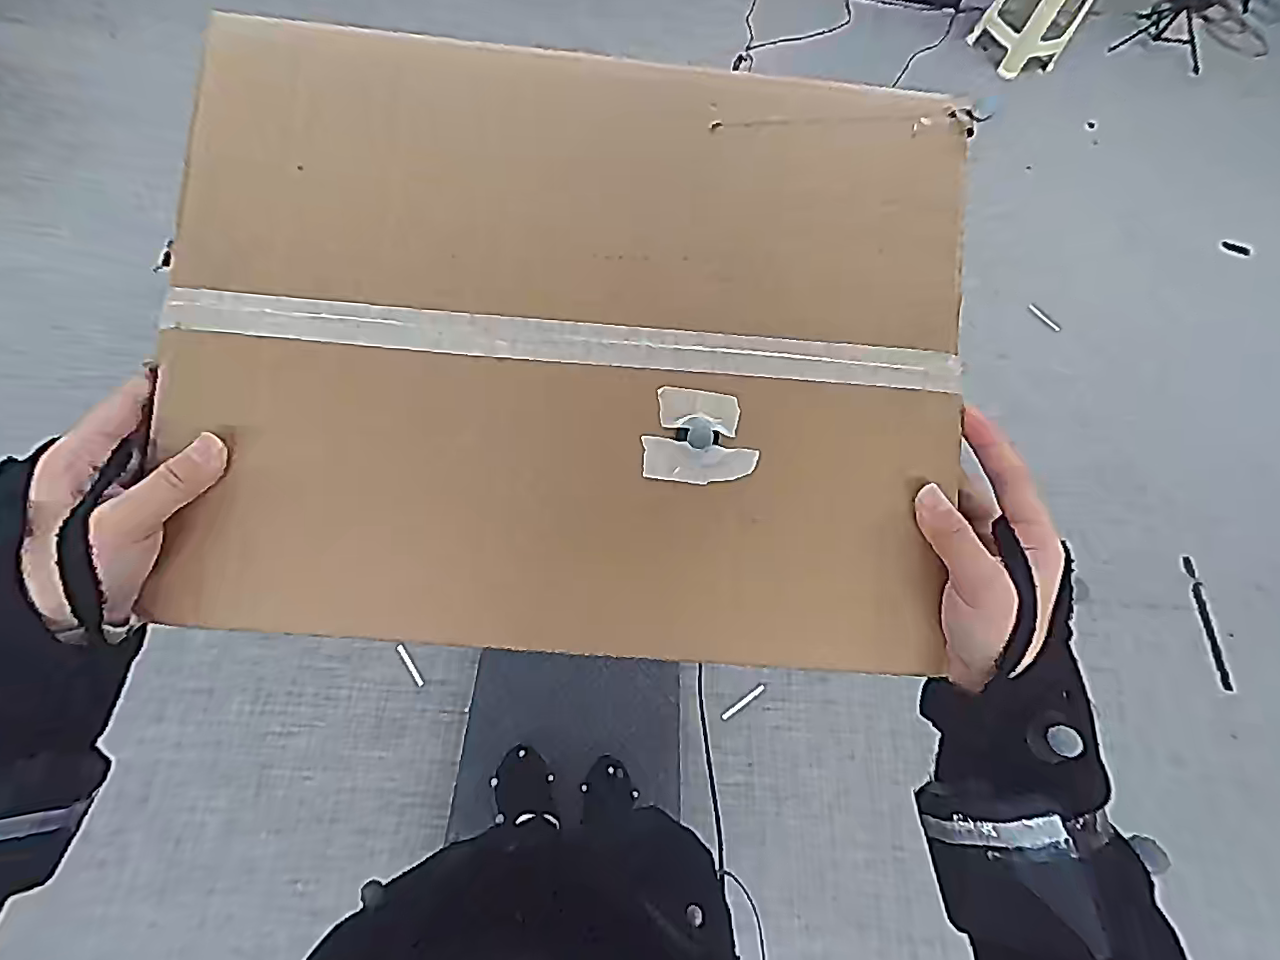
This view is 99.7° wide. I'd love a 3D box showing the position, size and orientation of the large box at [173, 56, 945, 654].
[{"bbox_3d":[-0.040,-0.059,0.442,0.408,0.320,0.320,5,87,-3],"label":"large box"}]
